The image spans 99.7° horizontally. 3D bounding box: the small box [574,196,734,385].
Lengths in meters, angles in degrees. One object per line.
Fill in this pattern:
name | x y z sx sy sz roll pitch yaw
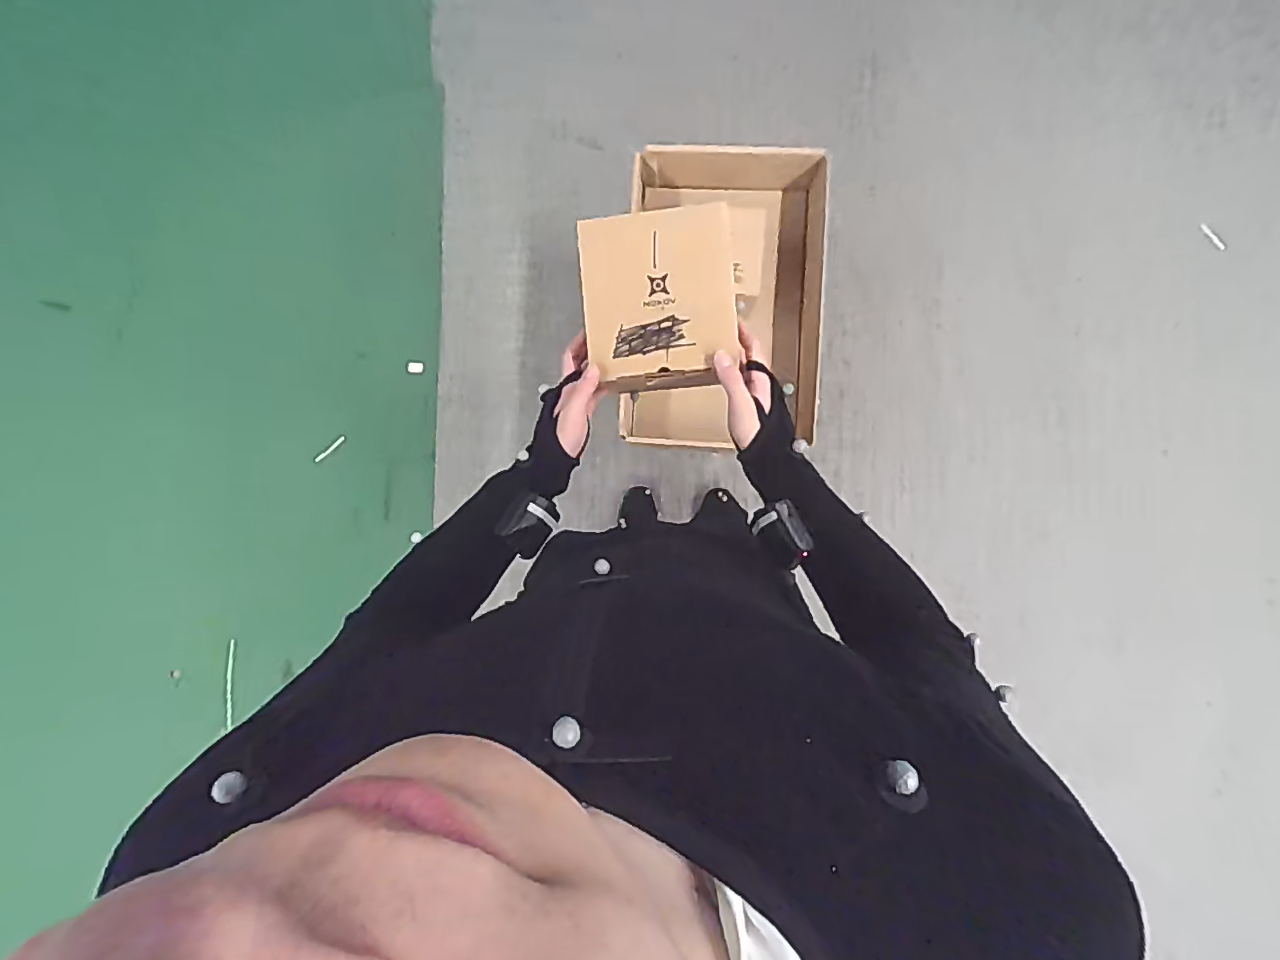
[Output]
small box | 0.024 -0.212 0.657 0.168 0.176 0.179 -4 93 6
